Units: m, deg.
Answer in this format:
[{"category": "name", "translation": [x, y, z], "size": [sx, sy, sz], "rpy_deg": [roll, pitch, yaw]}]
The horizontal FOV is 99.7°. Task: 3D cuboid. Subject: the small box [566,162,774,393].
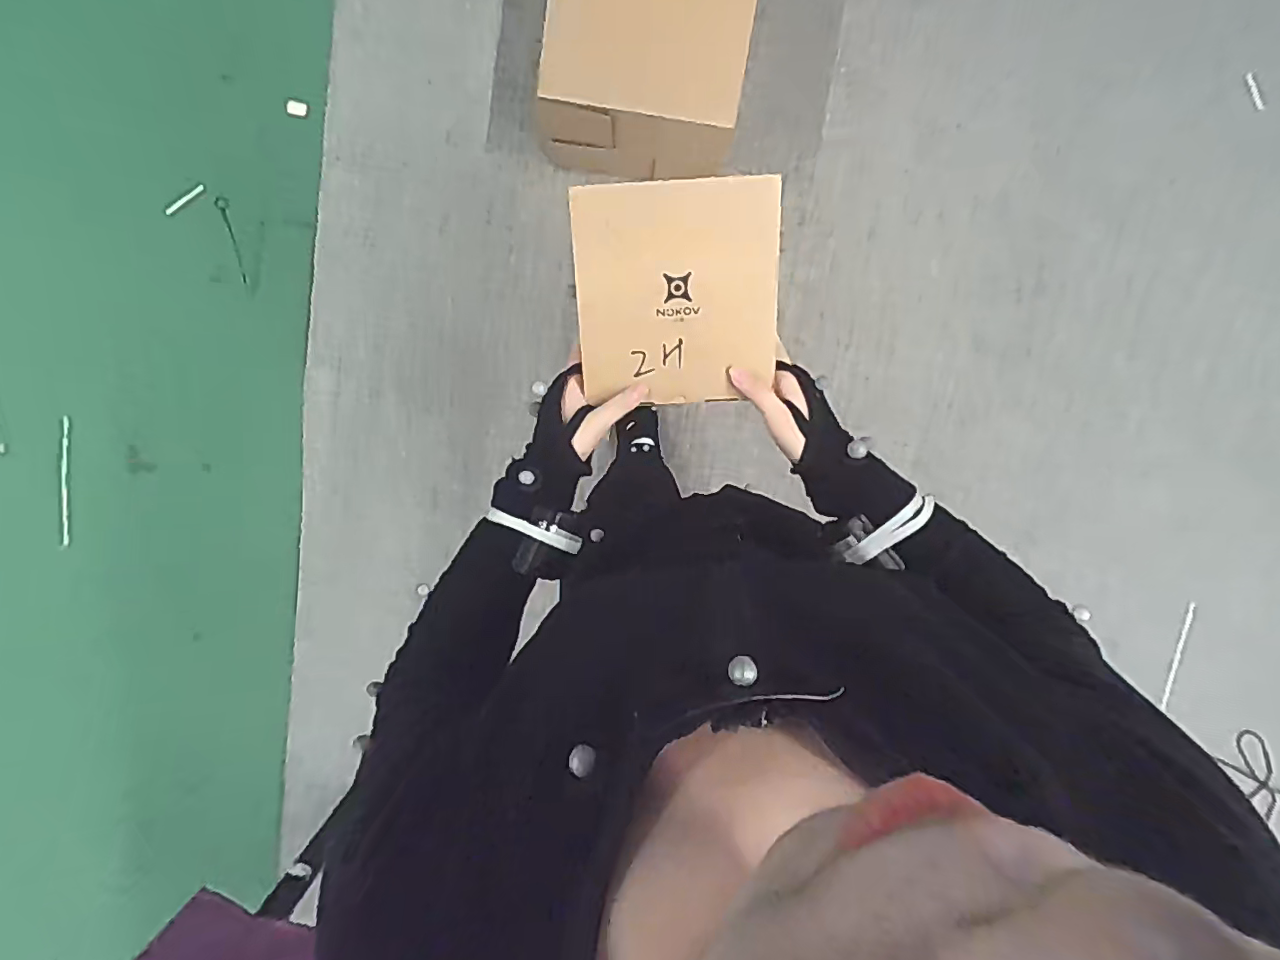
[{"category": "small box", "translation": [0.026, -0.185, 0.519], "size": [0.168, 0.176, 0.179], "rpy_deg": [-1, 109, 3]}]
